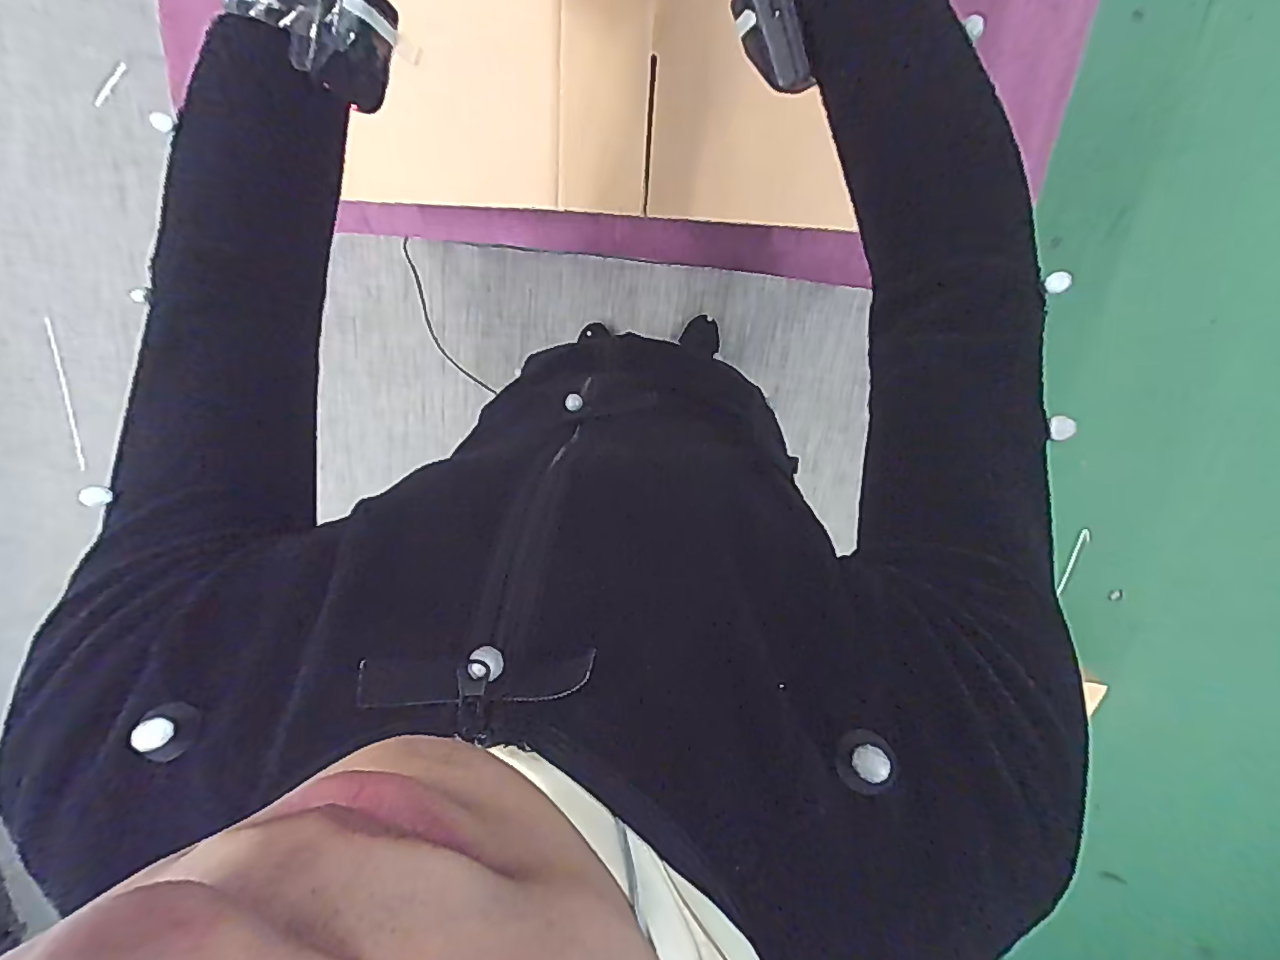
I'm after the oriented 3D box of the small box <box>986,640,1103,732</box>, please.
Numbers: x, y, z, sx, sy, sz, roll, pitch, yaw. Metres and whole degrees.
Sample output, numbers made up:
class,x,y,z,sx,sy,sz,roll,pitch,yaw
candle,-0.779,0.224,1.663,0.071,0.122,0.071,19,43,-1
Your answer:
class,x,y,z,sx,sy,sz,roll,pitch,yaw
small box,1.145,0.582,1.547,0.179,0.176,0.168,13,109,-1
